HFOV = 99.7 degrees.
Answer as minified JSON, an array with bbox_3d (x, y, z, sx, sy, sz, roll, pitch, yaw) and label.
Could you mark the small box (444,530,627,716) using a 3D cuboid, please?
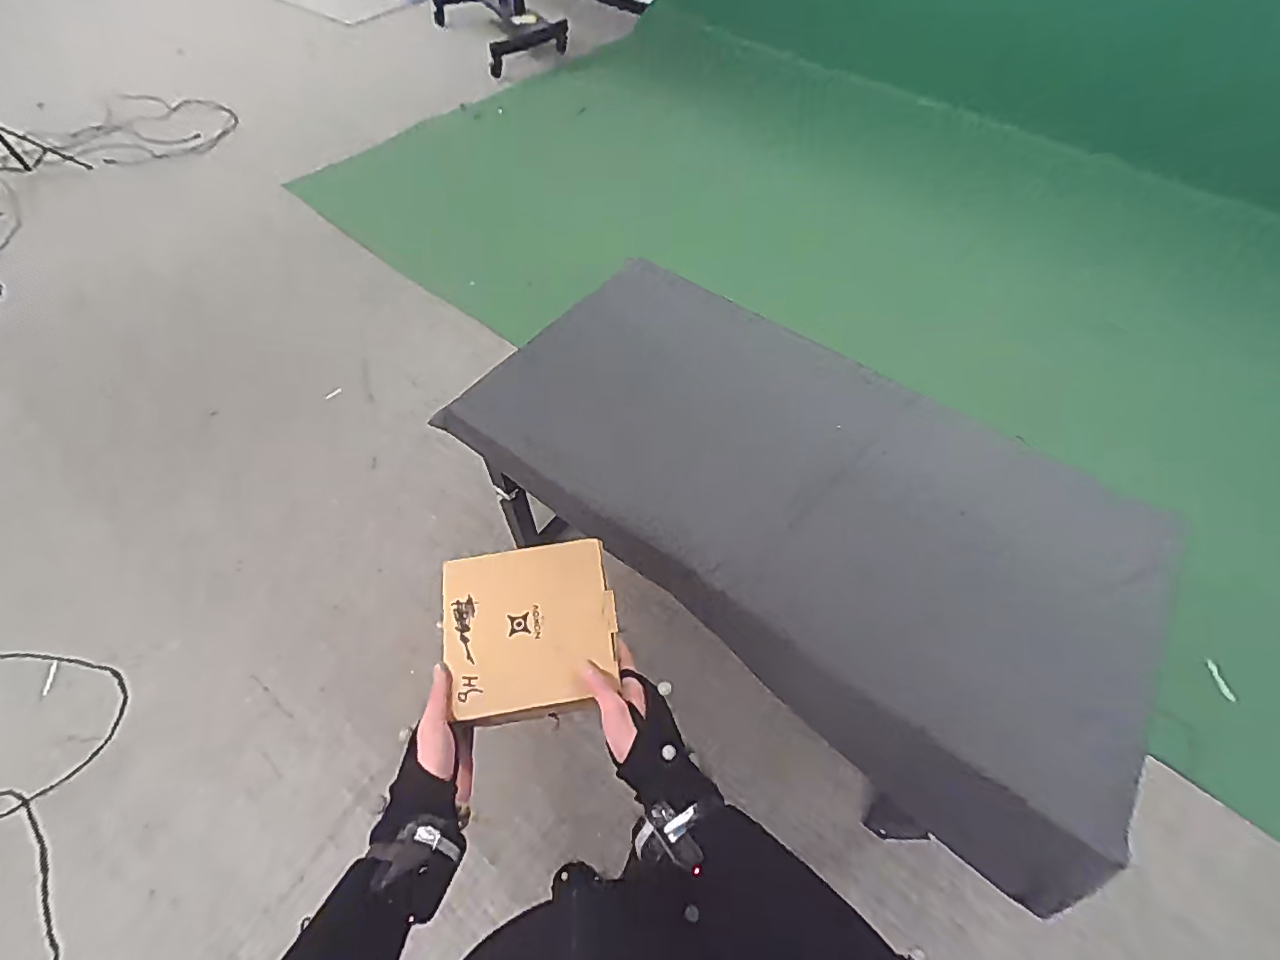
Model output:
[{"bbox_3d":[-0.113,0.170,0.622,0.179,0.176,0.168,-6,64,-6],"label":"small box"}]
